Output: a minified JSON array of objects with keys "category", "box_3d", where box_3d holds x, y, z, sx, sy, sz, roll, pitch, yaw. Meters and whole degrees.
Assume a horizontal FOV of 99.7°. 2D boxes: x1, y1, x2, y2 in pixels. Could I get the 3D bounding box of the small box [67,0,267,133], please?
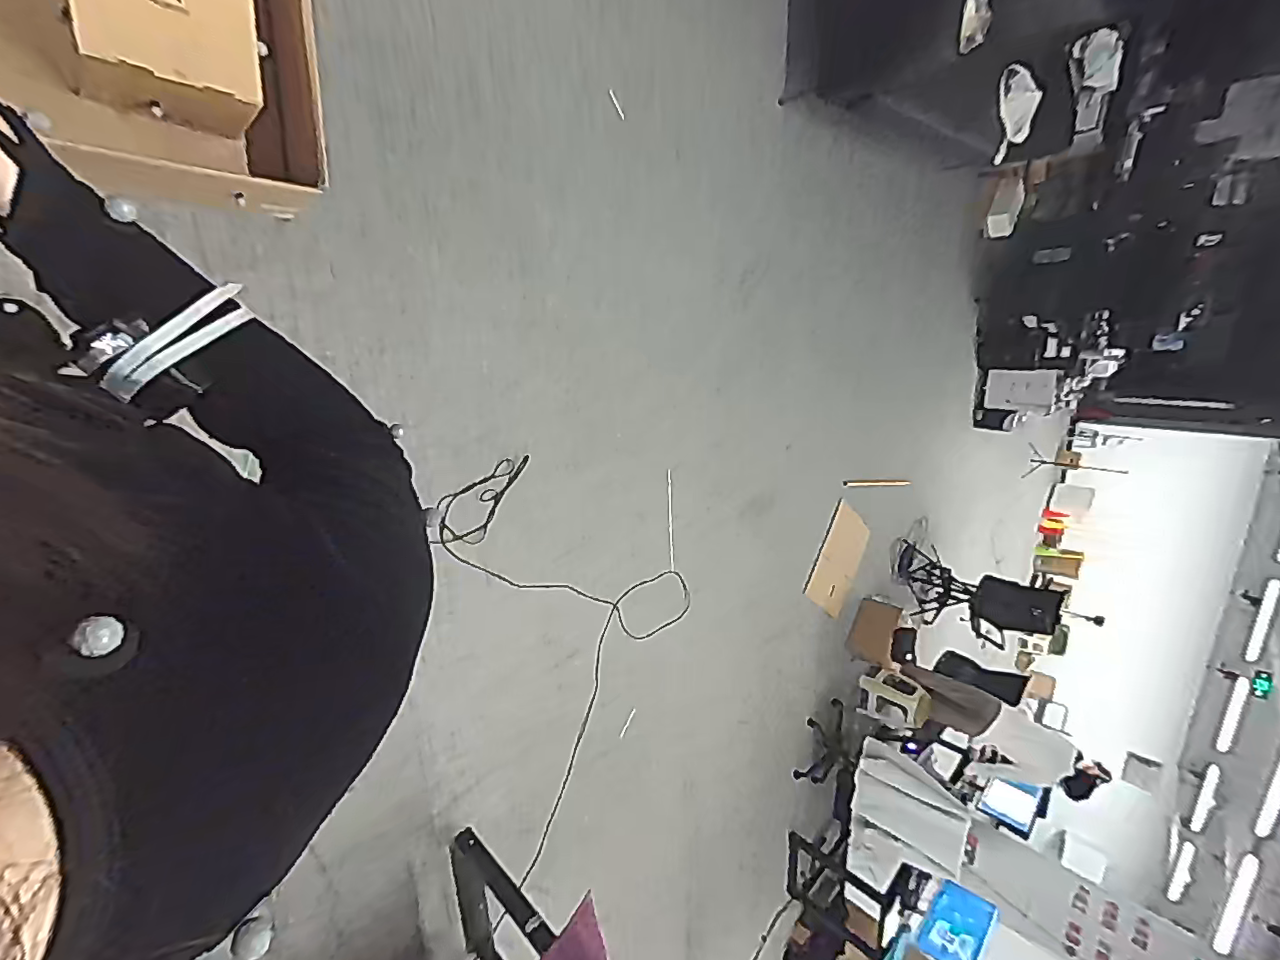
[{"category":"small box","box_3d":[-0.575,-0.558,0.655,0.168,0.176,0.179,-10,108,-43]}]
